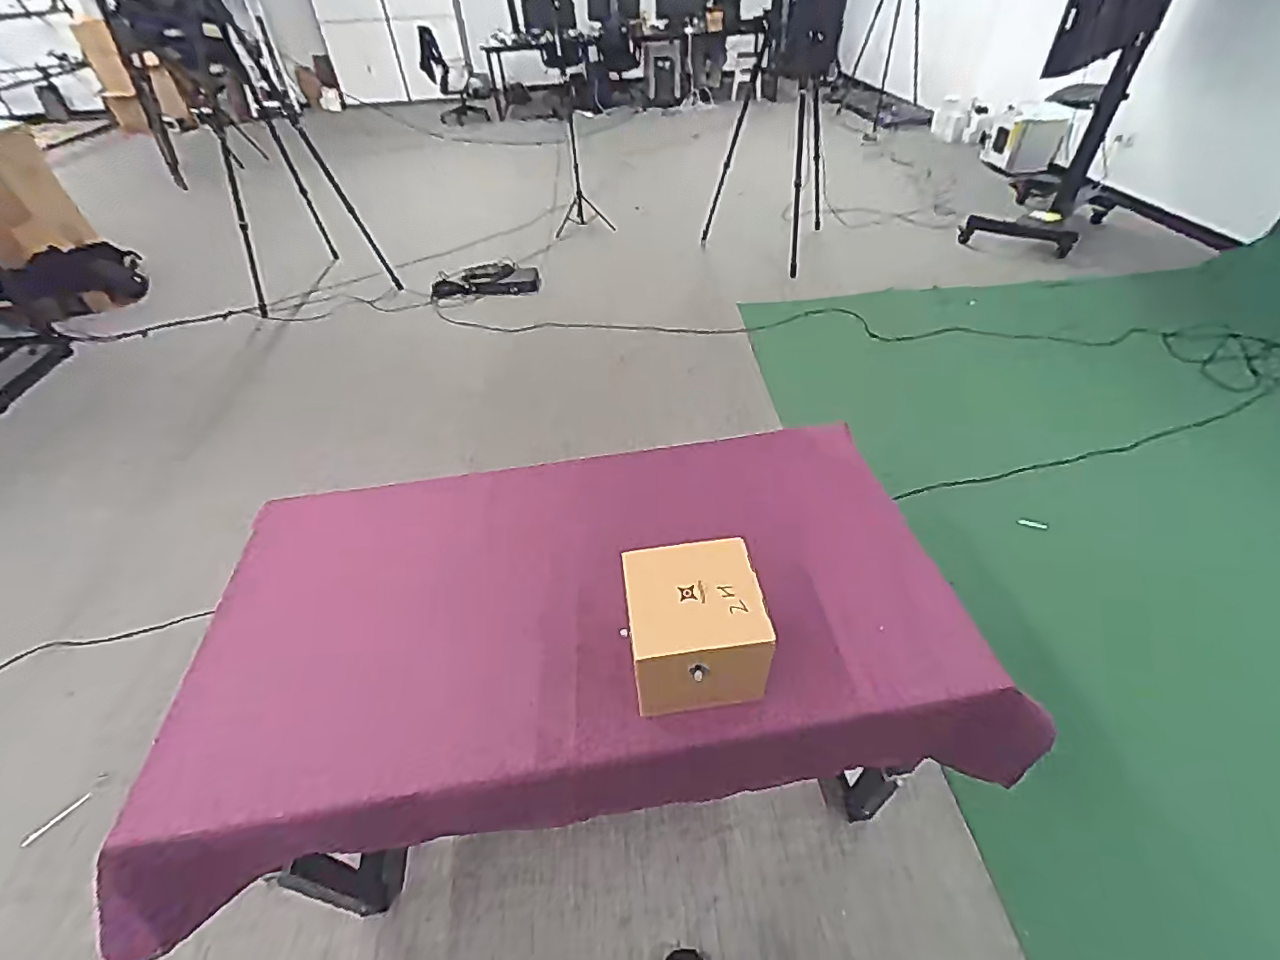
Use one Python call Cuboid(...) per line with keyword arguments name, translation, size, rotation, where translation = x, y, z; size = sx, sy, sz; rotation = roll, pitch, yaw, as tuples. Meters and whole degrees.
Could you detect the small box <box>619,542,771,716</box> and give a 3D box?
Cuboid(name="small box", translation=(0.070, 0.211, 0.757), size=(0.179, 0.176, 0.168), rotation=(-7, 44, -3))
